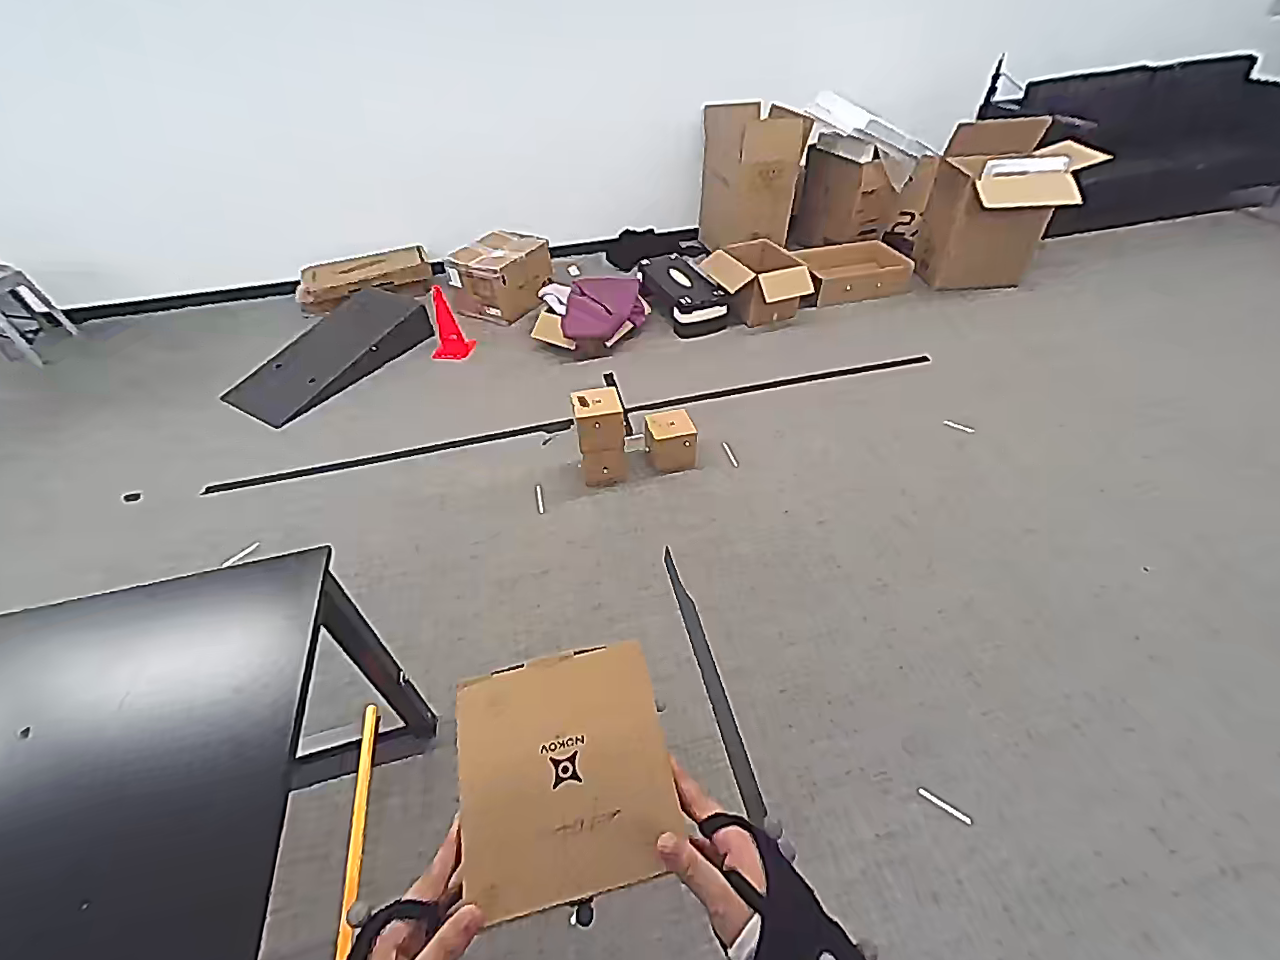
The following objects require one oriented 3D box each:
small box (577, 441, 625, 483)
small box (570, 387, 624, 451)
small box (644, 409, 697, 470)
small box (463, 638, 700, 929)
[{"bbox_3d":[-0.156,-0.102,2.153,0.168,0.176,0.179,-10,45,-7],"label":"small box"},{"bbox_3d":[-0.162,-0.226,2.044,0.179,0.176,0.168,-10,44,-8],"label":"small box"},{"bbox_3d":[0.120,-0.162,2.203,0.179,0.176,0.168,-12,44,-10],"label":"small box"},{"bbox_3d":[-0.054,0.269,0.485,0.168,0.176,0.179,-11,54,-7],"label":"small box"}]
